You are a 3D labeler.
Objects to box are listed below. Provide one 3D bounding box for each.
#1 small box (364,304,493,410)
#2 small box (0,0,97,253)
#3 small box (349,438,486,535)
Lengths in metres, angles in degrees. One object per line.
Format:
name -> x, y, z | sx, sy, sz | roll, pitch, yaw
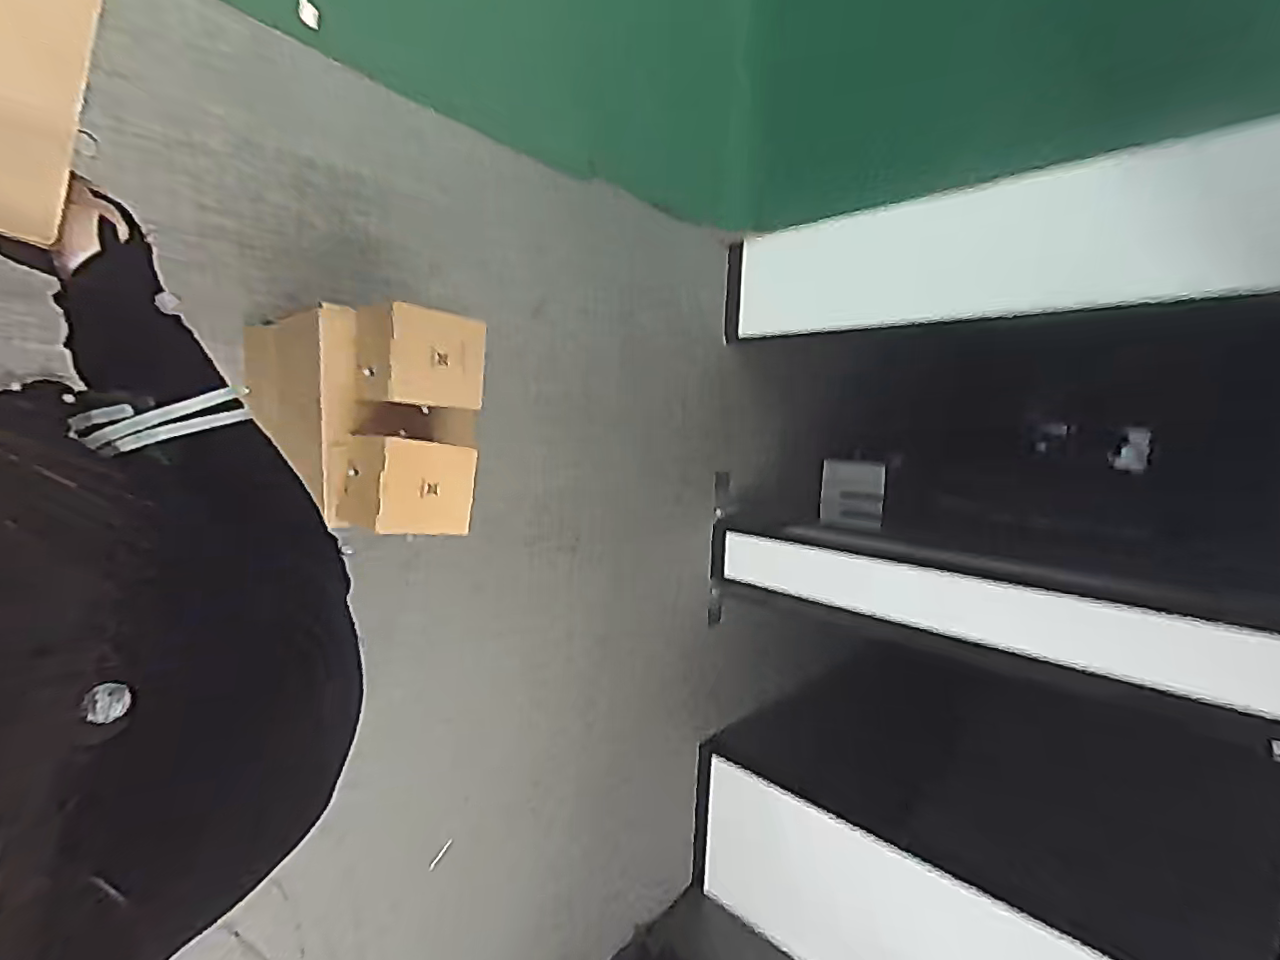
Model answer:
small box -> -0.401, -0.222, 1.018 | 0.179, 0.176, 0.168 | -1, 98, -47
small box -> -0.438, -0.254, 0.305 | 0.168, 0.176, 0.179 | 7, 105, -51
small box -> -0.421, 0.011, 1.026 | 0.179, 0.176, 0.168 | 6, 89, -48
